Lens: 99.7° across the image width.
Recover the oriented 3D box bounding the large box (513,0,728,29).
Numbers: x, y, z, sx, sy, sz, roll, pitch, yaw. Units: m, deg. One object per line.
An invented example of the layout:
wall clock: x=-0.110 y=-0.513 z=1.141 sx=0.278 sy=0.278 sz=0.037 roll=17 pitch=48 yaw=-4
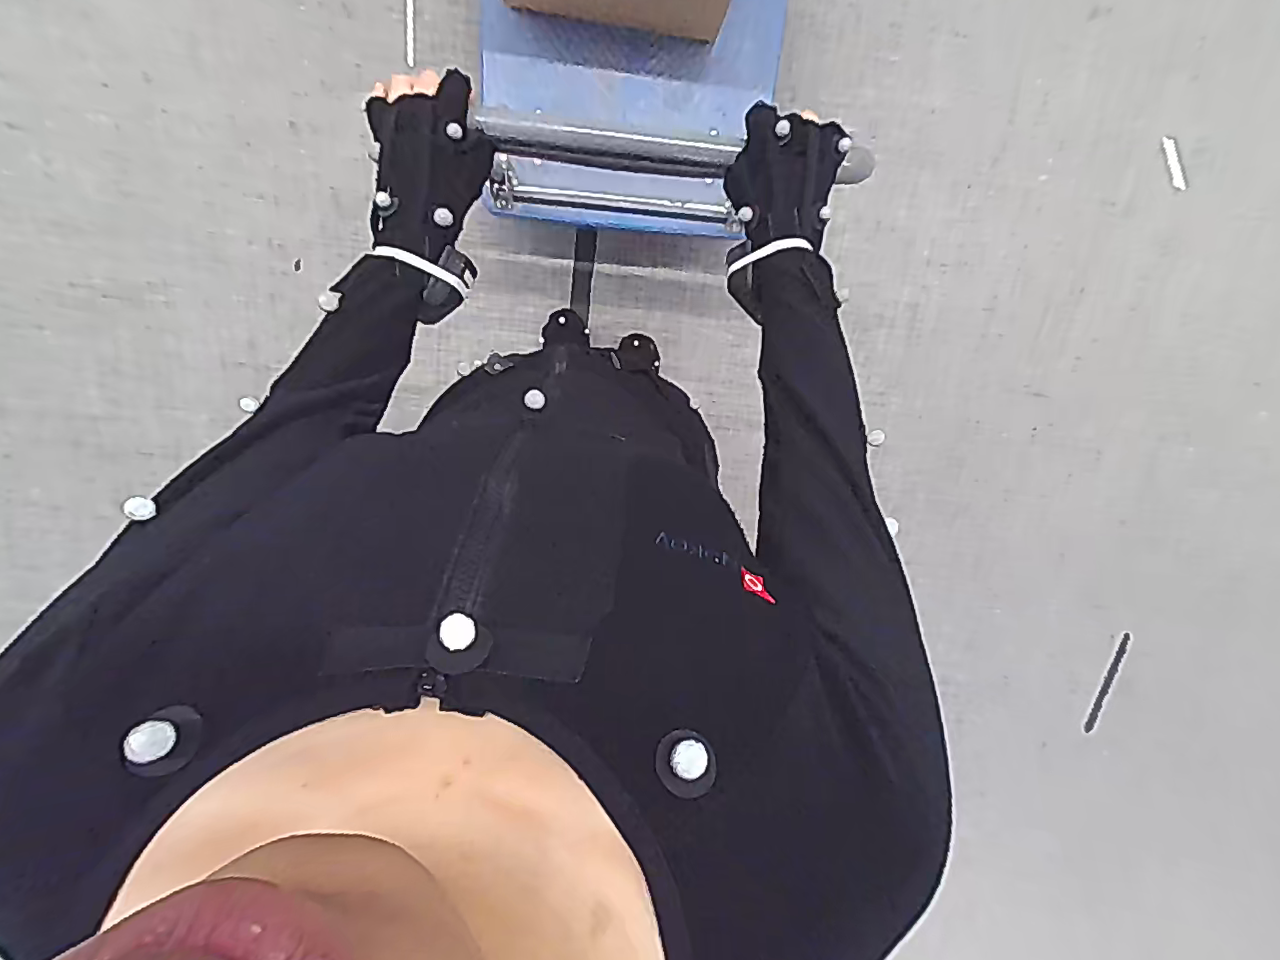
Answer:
large box: x=-0.028 y=-0.977 z=0.848 sx=0.408 sy=0.320 sz=0.320 roll=6 pitch=108 yaw=-4
